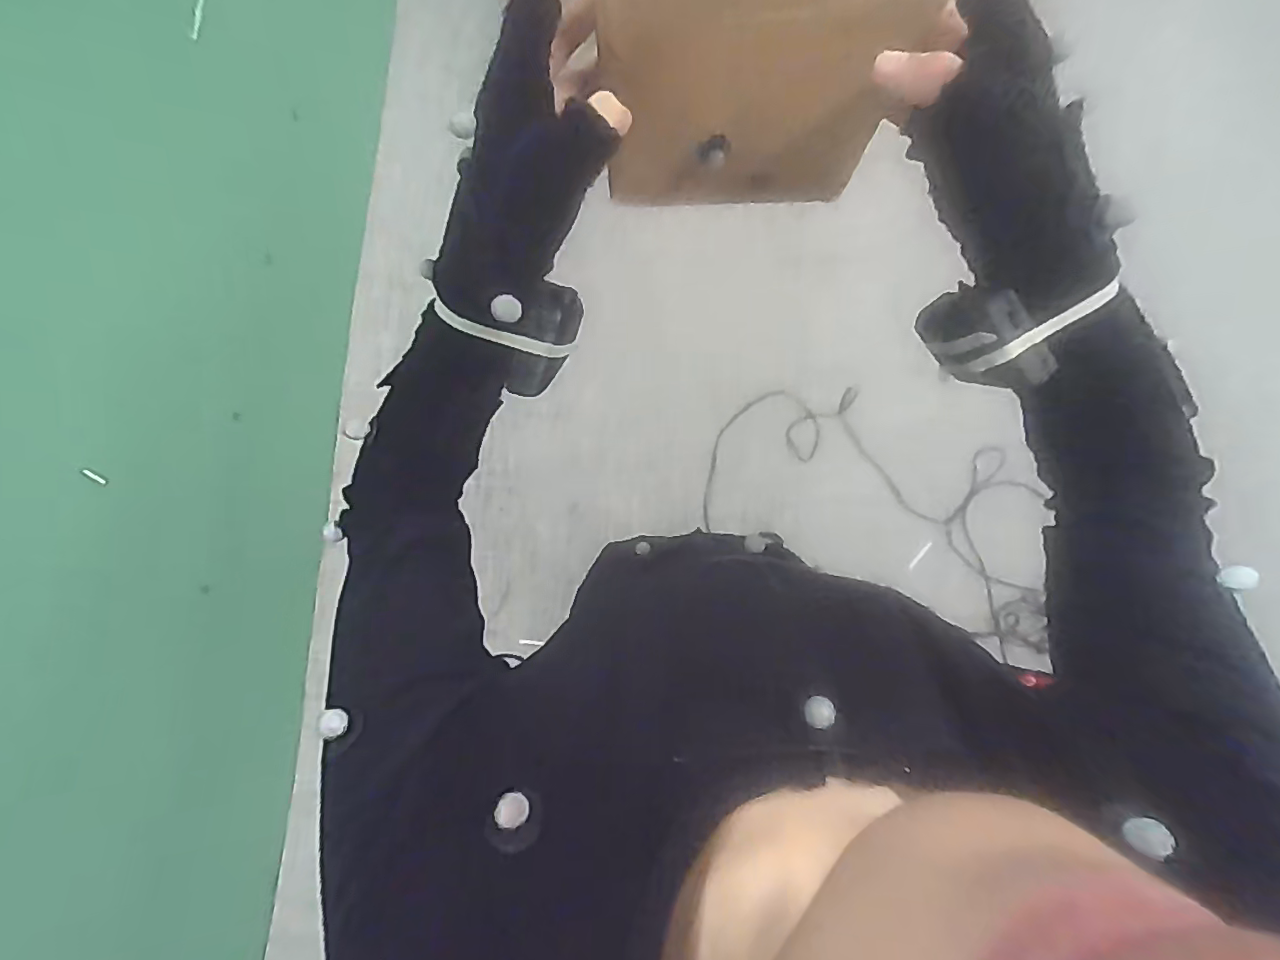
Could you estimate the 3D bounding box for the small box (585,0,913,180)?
[{"bbox_3d":[0.052,-0.311,0.316,0.168,0.176,0.179,-2,82,1],"label":"small box"}]
